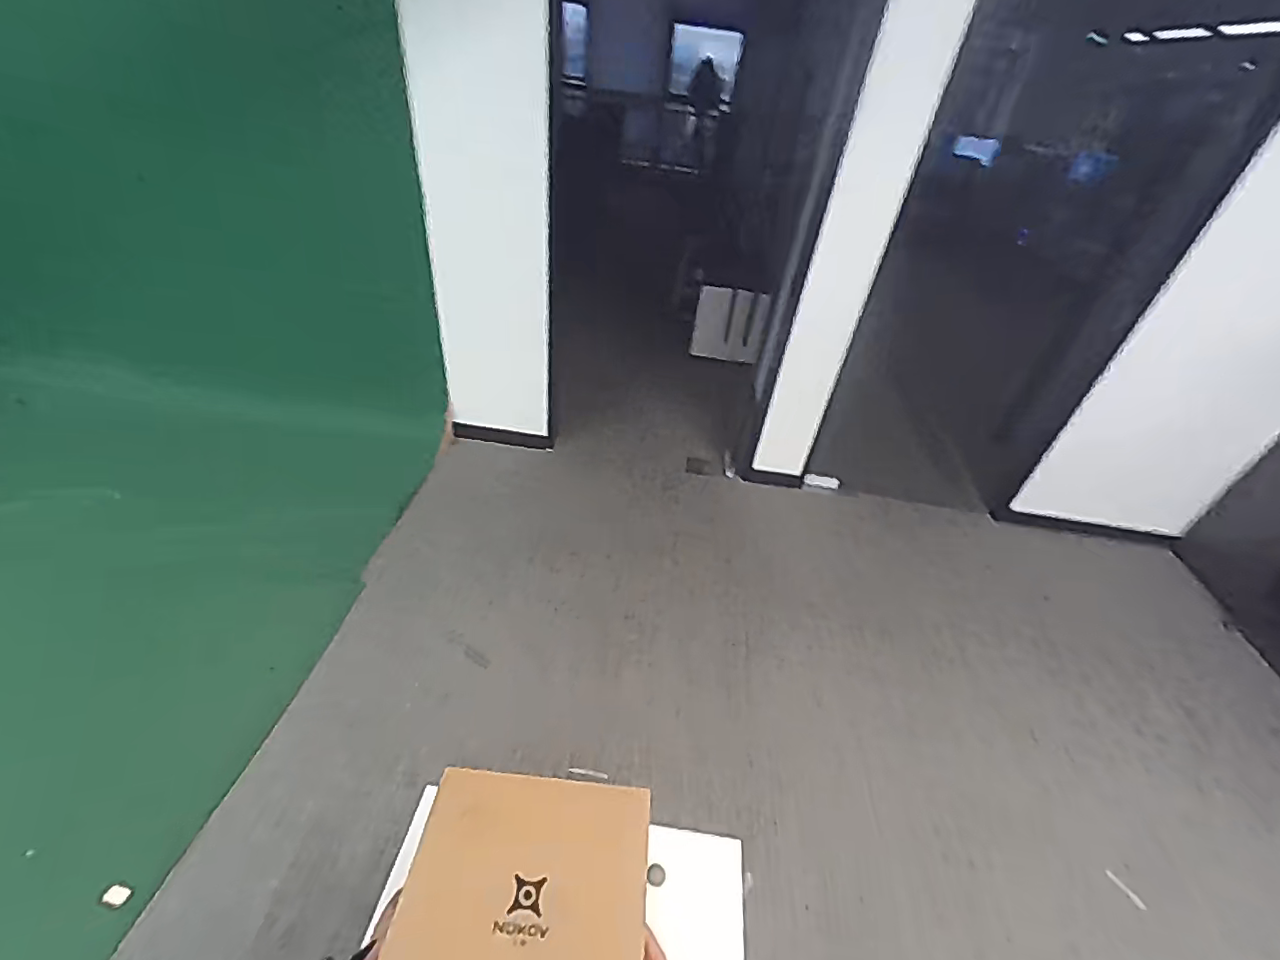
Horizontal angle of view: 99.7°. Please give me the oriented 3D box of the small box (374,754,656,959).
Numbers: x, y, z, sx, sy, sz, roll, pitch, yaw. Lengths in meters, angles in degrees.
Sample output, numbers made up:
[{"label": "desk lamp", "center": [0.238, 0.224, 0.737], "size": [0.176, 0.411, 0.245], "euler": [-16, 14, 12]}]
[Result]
[{"label": "small box", "center": [-0.083, 0.338, 0.398], "size": [0.168, 0.176, 0.179], "euler": [7, 35, -1]}]
